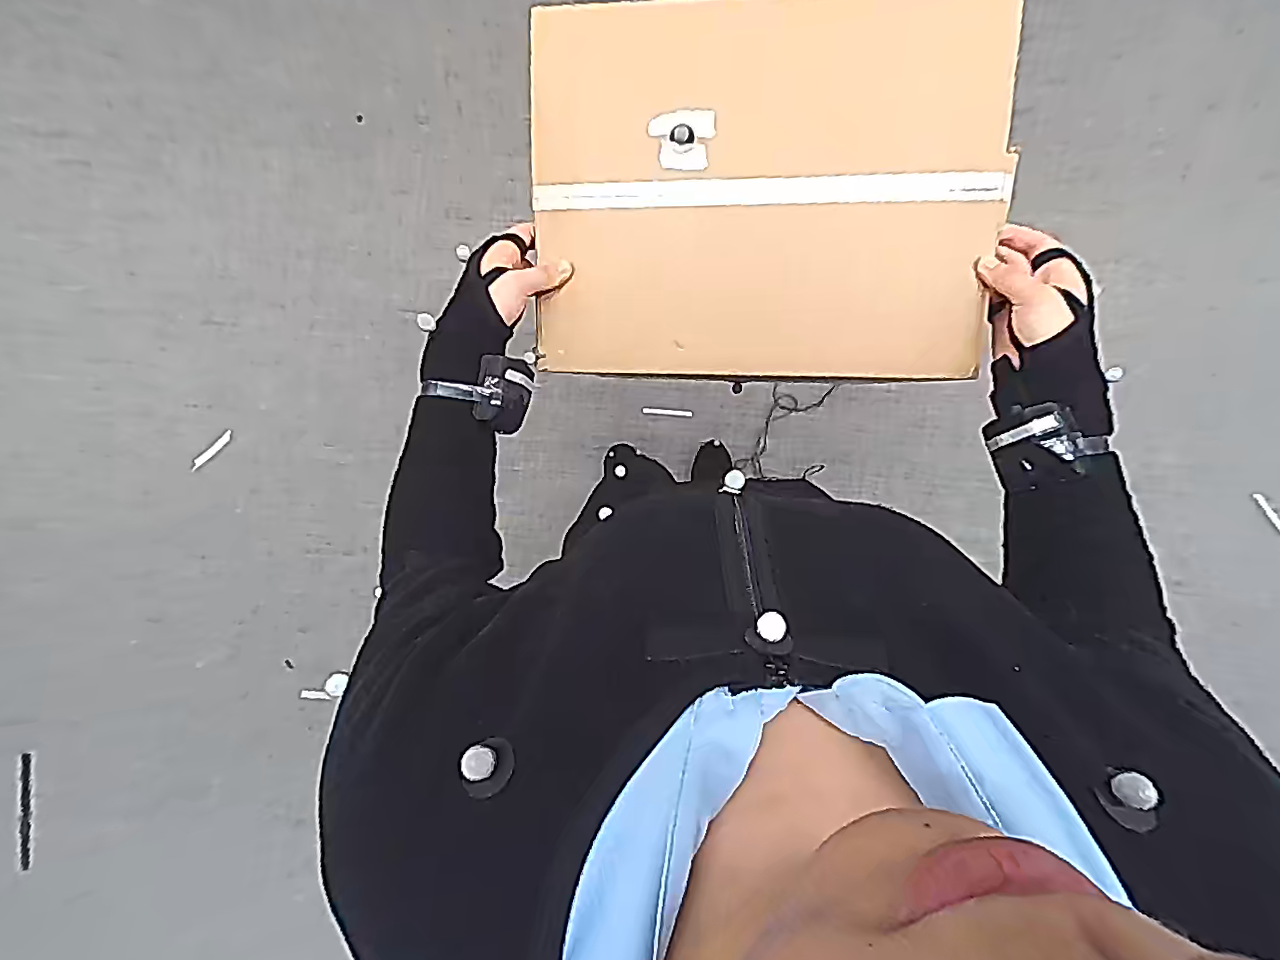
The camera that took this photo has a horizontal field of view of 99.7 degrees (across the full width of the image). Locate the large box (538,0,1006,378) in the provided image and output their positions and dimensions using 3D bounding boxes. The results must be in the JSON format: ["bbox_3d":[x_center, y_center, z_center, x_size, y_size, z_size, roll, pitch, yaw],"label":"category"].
[{"bbox_3d":[0.125,-0.280,0.633,0.408,0.320,0.320,2,98,8],"label":"large box"}]
